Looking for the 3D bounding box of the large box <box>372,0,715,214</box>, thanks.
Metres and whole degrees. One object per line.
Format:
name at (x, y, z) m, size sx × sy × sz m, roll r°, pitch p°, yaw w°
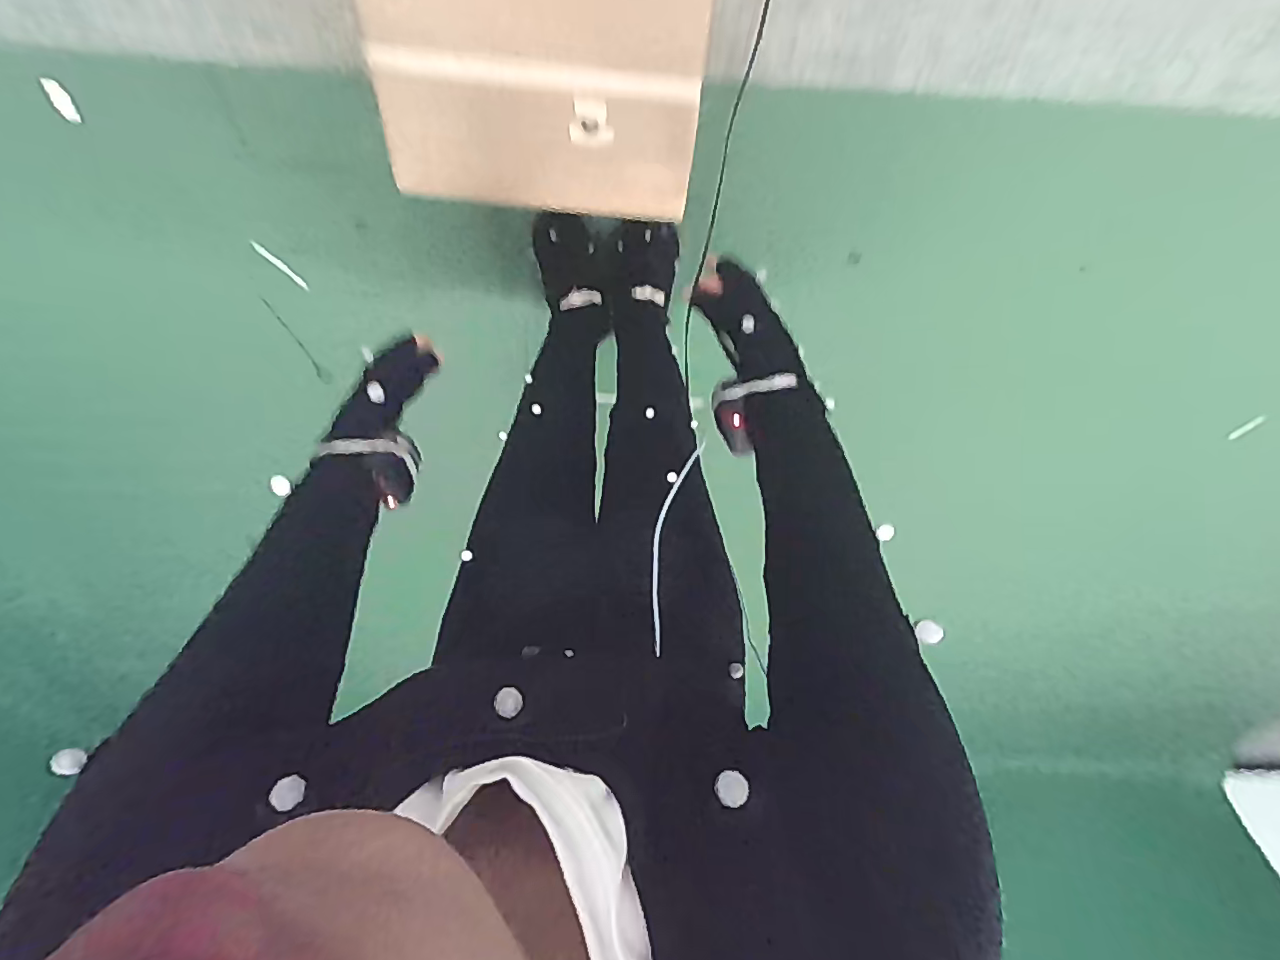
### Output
large box at (-0.123, -0.610, 0.780) m, size 0.408 × 0.320 × 0.320 m, roll 3°, pitch 135°, yaw -5°
